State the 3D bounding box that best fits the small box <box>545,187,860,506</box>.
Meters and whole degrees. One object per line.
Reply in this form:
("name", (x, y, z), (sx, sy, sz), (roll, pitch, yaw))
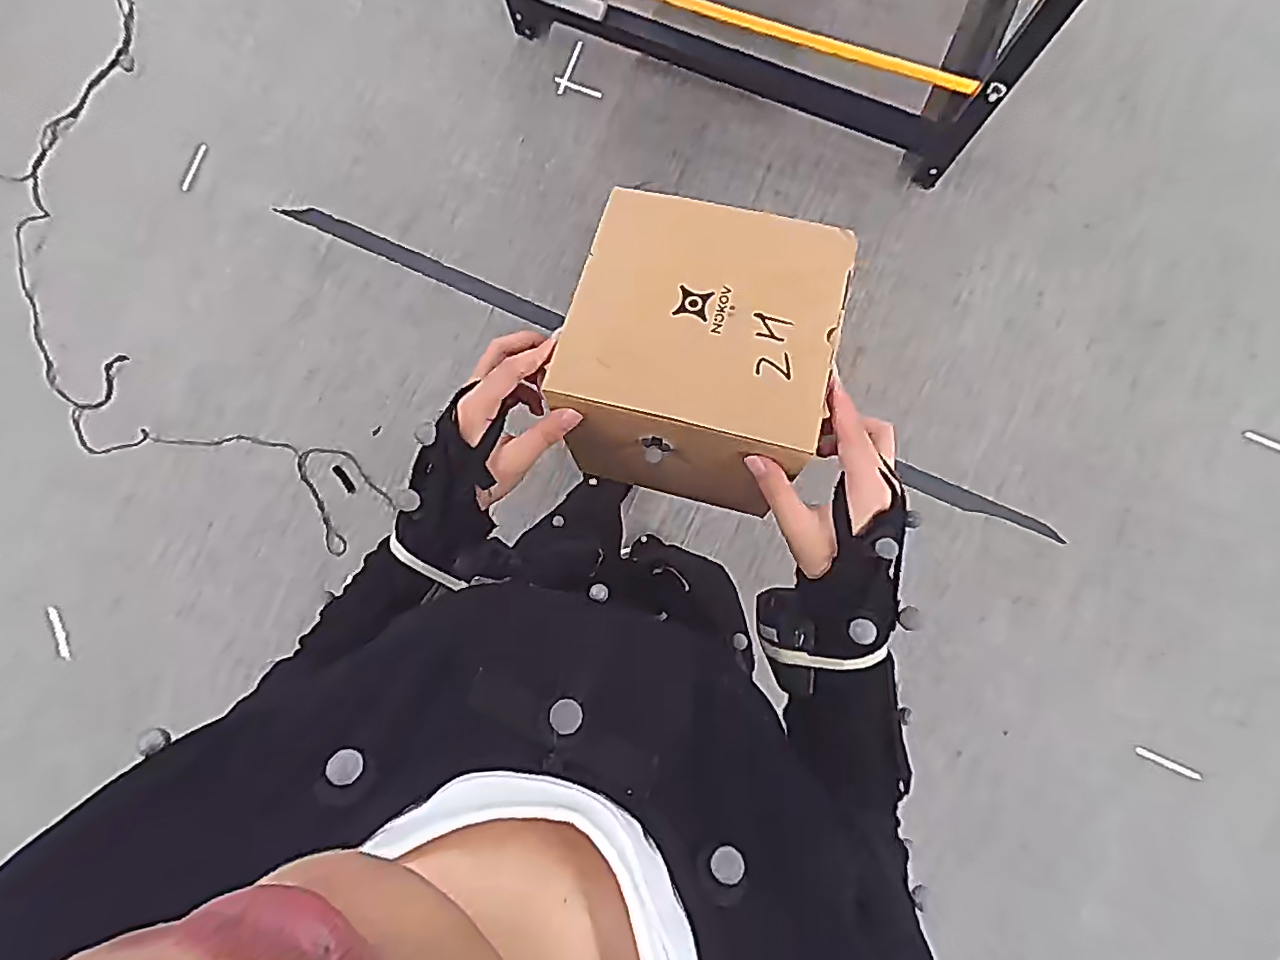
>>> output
("small box", (0.047, -0.089, 0.428), (0.179, 0.176, 0.168), (14, 75, 7))
